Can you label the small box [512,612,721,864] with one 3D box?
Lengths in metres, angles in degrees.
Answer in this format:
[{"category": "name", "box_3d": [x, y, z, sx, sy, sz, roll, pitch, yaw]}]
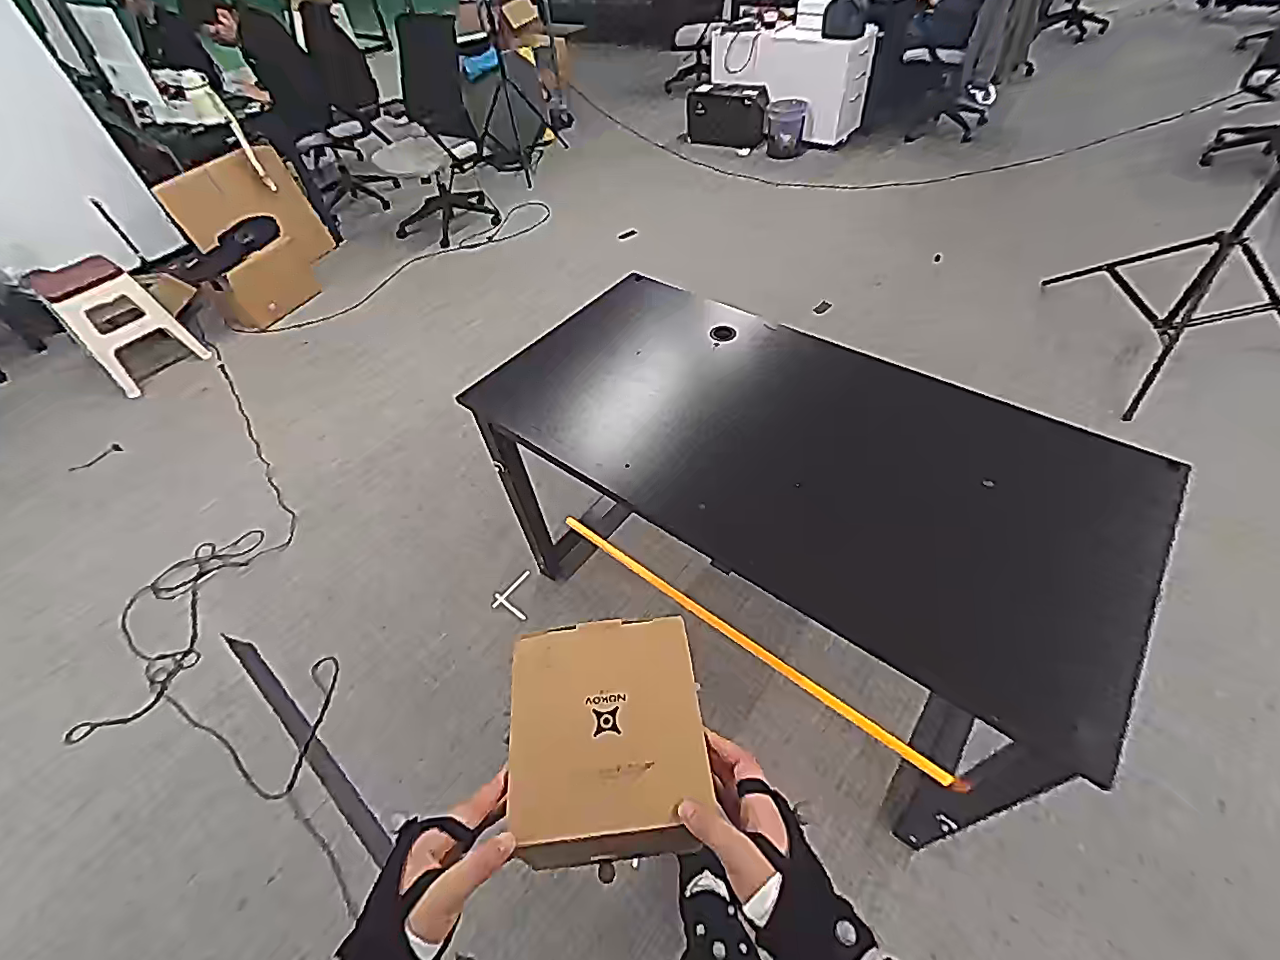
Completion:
[{"category": "small box", "box_3d": [-0.026, 0.253, 0.530, 0.168, 0.176, 0.179, -5, 50, -4]}]
